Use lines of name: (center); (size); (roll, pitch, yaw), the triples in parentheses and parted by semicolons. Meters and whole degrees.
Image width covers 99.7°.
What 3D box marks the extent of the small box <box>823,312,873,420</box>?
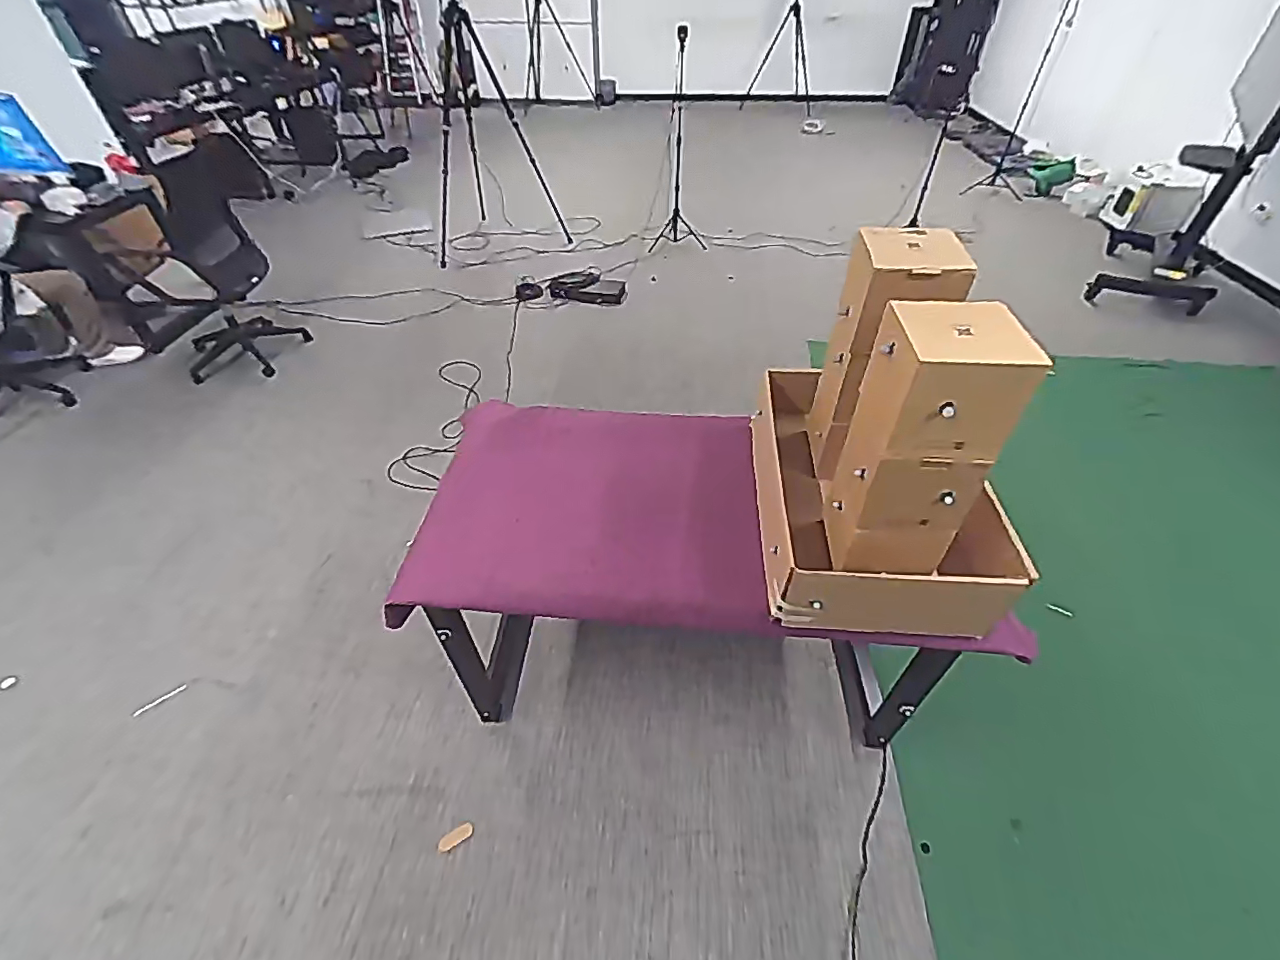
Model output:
small box: (0.487, -0.231, 1.122); (0.168, 0.176, 0.179); (5, 46, 6)

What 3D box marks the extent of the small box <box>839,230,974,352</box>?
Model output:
small box: (0.480, -0.344, 1.004); (0.168, 0.176, 0.179); (5, 47, 6)

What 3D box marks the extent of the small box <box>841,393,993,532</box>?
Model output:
small box: (0.453, -0.029, 0.919); (0.168, 0.176, 0.179); (3, 43, 5)

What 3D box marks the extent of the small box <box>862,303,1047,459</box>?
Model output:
small box: (0.449, -0.147, 0.809); (0.168, 0.176, 0.179); (3, 43, 5)
